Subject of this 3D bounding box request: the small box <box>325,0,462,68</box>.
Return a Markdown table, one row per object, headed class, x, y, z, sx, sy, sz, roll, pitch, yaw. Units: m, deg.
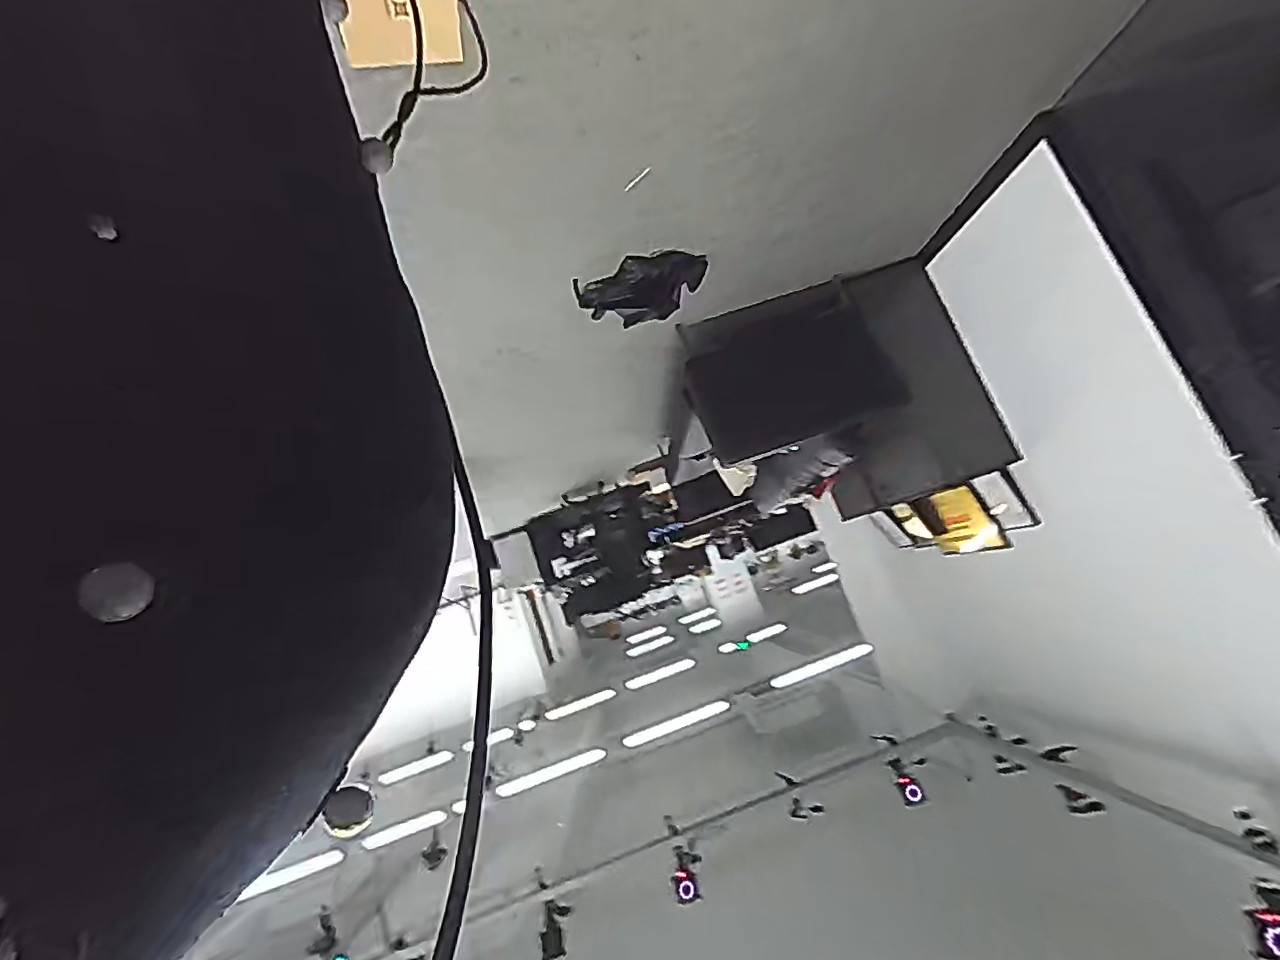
| class | x | y | z | sx | sy | sz | roll | pitch | yaw |
| --- | --- | --- | --- | --- | --- | --- | --- | --- | --- |
| small box | -0.373 | -0.743 | 0.778 | 0.179 | 0.176 | 0.168 | -17 | 171 | -16 |
